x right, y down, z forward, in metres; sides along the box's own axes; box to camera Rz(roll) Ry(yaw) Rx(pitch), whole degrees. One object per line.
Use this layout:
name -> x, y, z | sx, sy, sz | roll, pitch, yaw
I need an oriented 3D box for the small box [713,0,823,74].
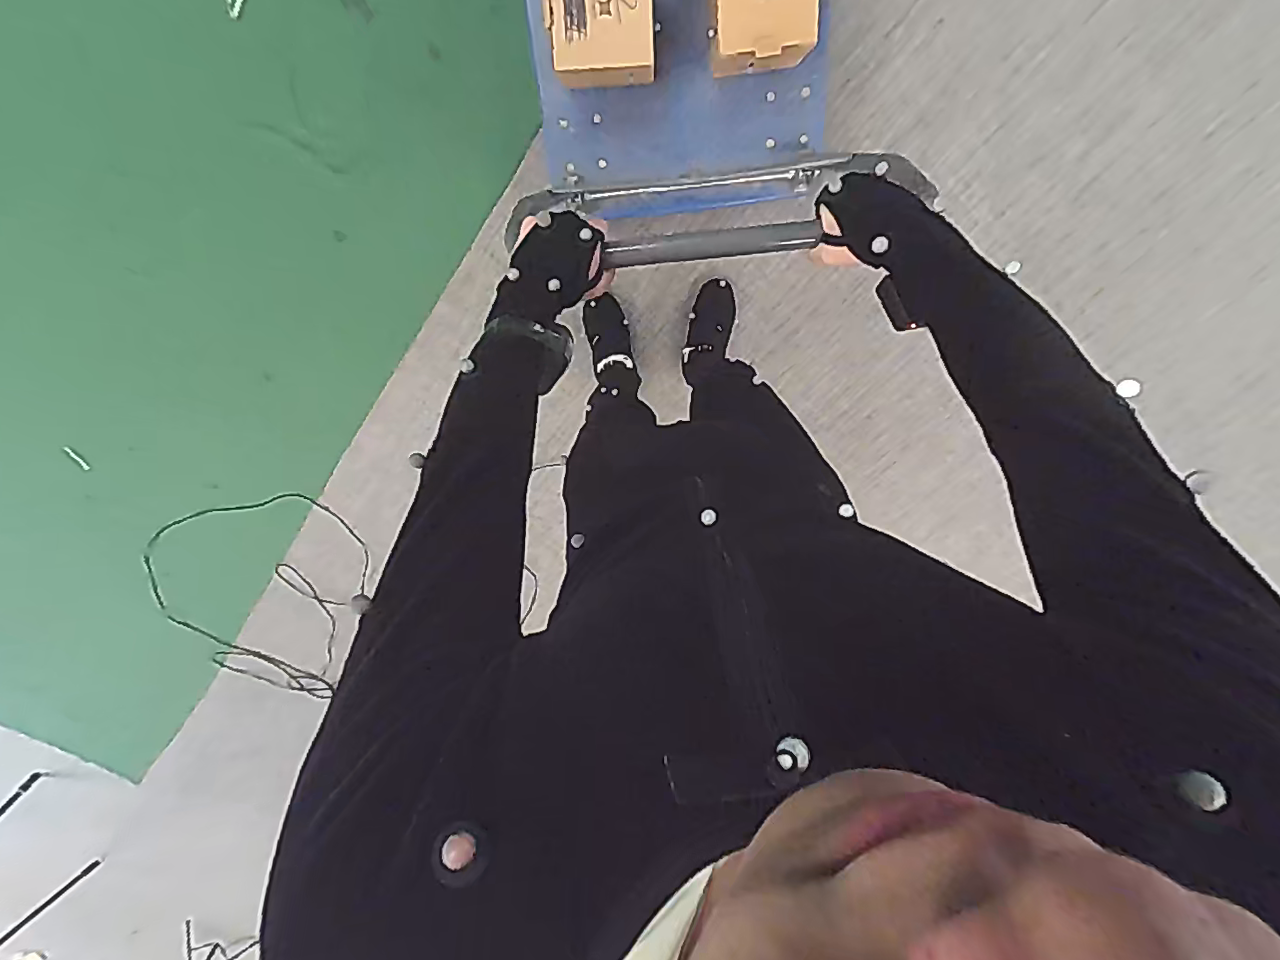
small box -> 0.217, -0.839, 0.942 | 0.168, 0.176, 0.179 | -4, 119, 5
